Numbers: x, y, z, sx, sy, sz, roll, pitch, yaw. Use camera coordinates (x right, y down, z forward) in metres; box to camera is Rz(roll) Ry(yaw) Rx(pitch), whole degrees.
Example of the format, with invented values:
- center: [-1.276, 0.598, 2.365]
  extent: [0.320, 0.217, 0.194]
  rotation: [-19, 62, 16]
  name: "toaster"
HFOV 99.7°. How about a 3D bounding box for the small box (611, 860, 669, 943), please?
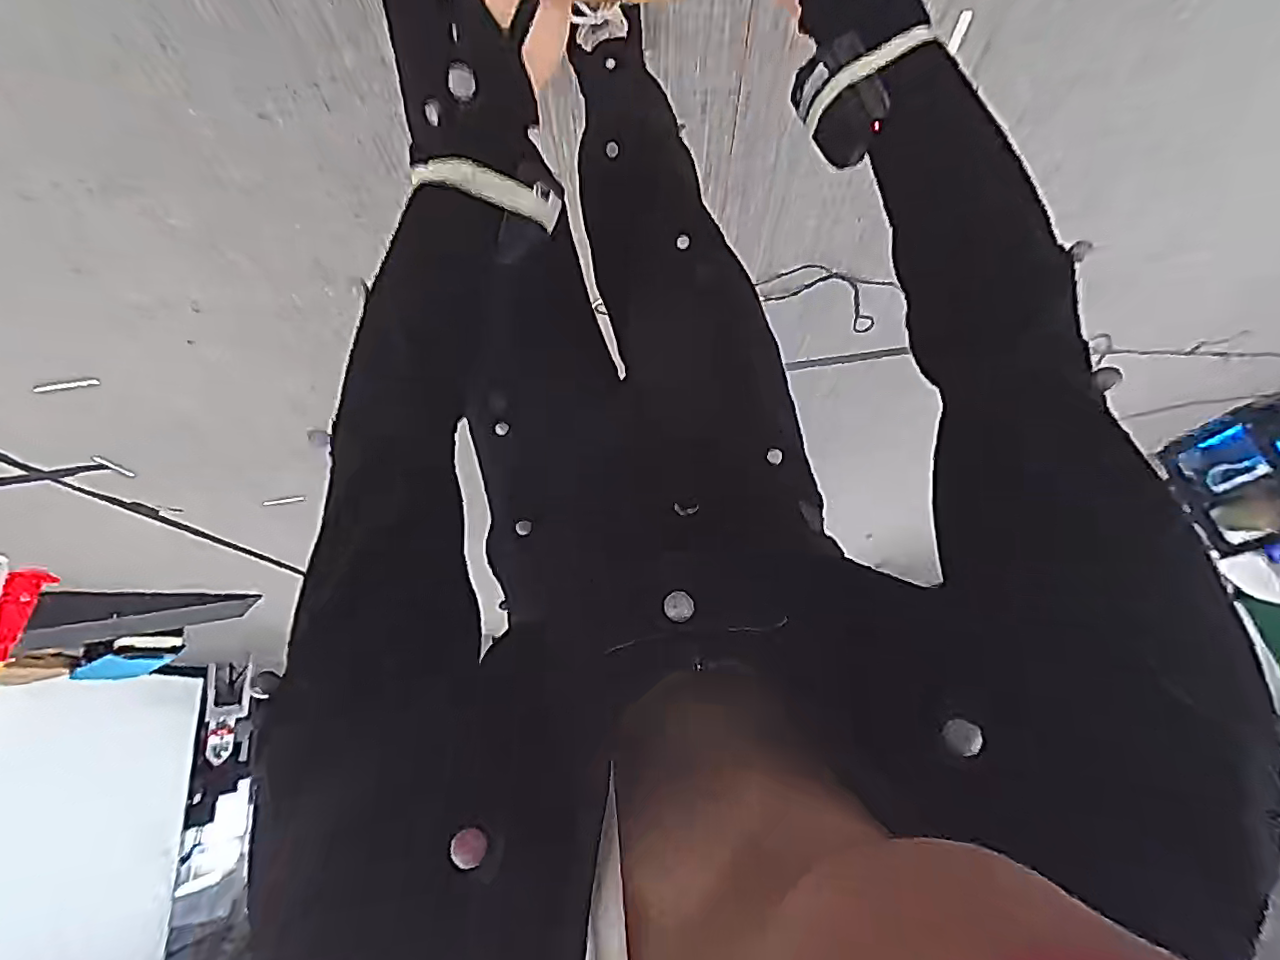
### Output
- center: [-0.006, 1.450, 1.869]
  extent: [0.168, 0.176, 0.179]
  rotation: [-8, 159, -8]
  name: "small box"
